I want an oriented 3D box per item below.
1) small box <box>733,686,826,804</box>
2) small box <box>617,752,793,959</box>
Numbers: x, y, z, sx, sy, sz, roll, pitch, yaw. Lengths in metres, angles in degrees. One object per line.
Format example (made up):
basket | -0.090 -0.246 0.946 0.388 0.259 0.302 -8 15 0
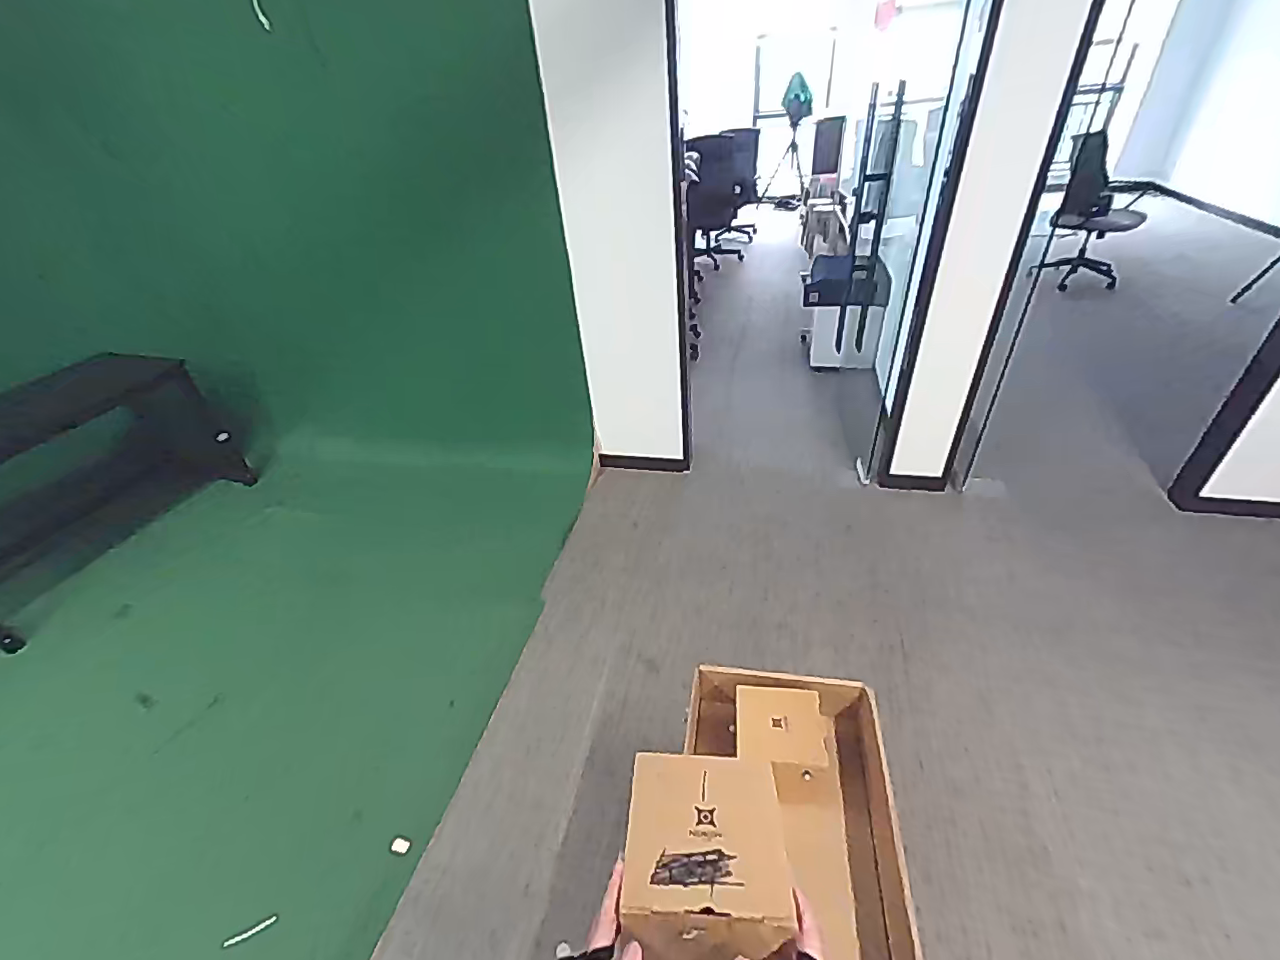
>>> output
small box | 0.287 0.564 1.152 0.179 0.176 0.168 1 36 8
small box | 0.069 0.440 0.601 0.168 0.176 0.179 1 22 5
